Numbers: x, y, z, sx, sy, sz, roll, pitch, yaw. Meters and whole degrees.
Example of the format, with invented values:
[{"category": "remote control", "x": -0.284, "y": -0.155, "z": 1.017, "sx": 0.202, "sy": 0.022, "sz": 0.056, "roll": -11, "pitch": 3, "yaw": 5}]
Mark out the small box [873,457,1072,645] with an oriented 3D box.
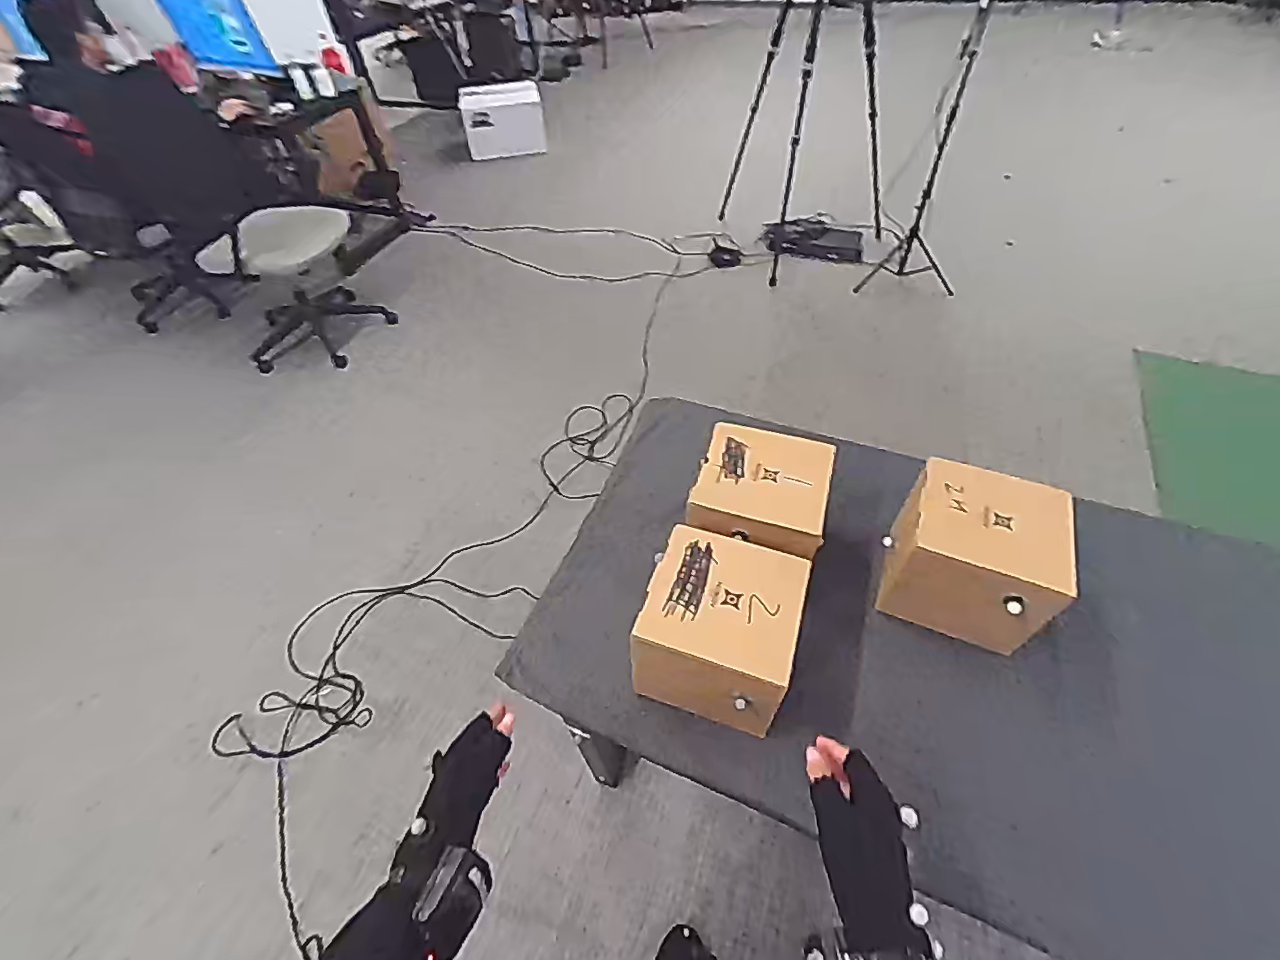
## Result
[{"category": "small box", "x": 0.443, "y": 0.101, "z": 0.736, "sx": 0.179, "sy": 0.176, "sz": 0.168, "roll": 18, "pitch": 53, "yaw": 18}]
